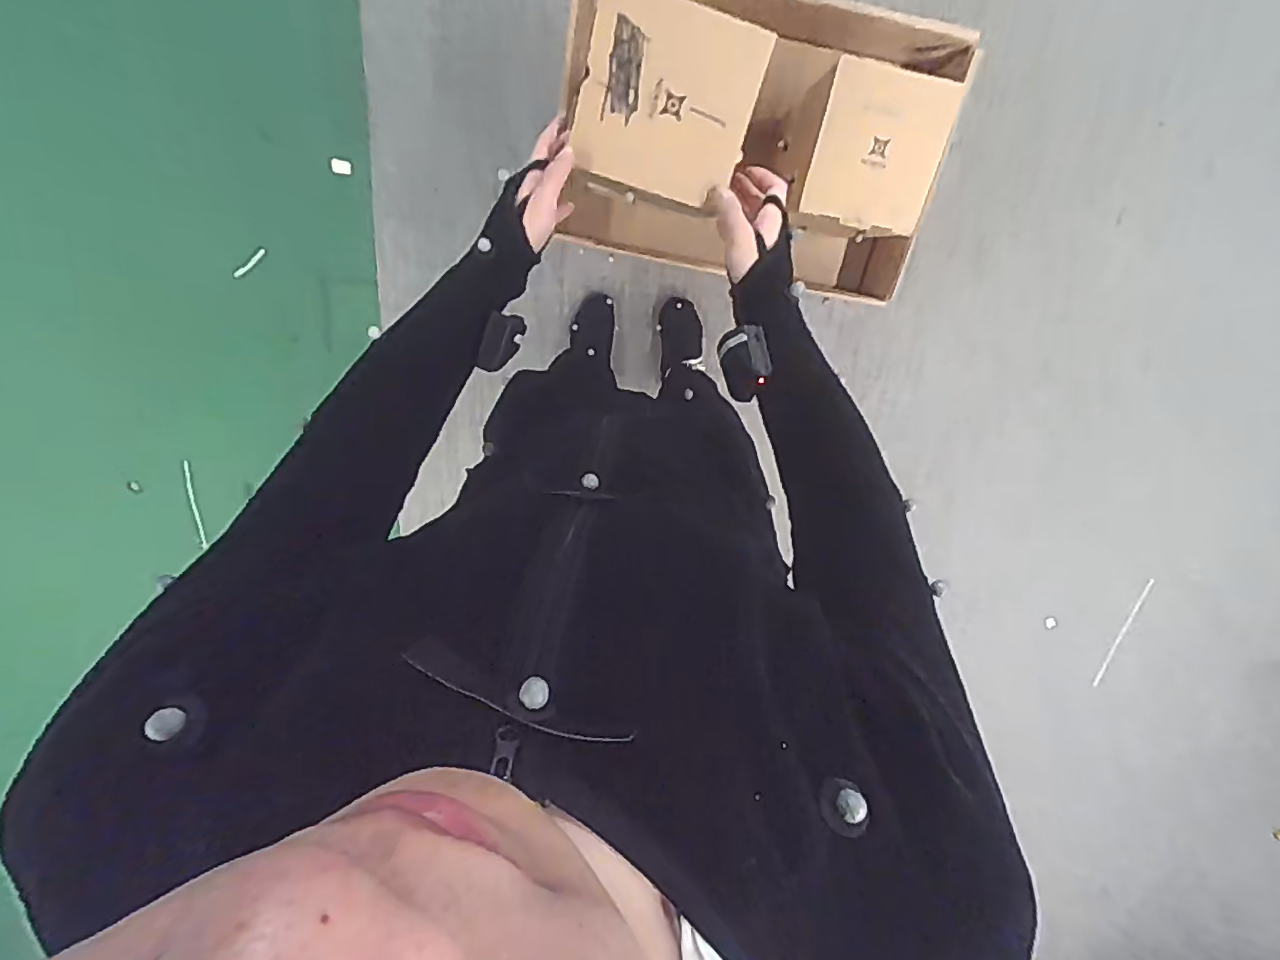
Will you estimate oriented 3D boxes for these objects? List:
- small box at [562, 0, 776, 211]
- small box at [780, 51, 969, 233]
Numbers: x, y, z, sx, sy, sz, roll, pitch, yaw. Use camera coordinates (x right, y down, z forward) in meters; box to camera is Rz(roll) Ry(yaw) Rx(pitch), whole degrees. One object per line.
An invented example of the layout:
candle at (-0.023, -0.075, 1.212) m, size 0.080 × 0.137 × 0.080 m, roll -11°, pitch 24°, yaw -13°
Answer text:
small box at (0.026, -0.414, 0.610) m, size 0.179 × 0.176 × 0.168 m, roll 16°, pitch 114°, yaw -7°
small box at (0.310, -0.458, 0.762) m, size 0.168 × 0.176 × 0.179 m, roll 10°, pitch 114°, yaw -4°
